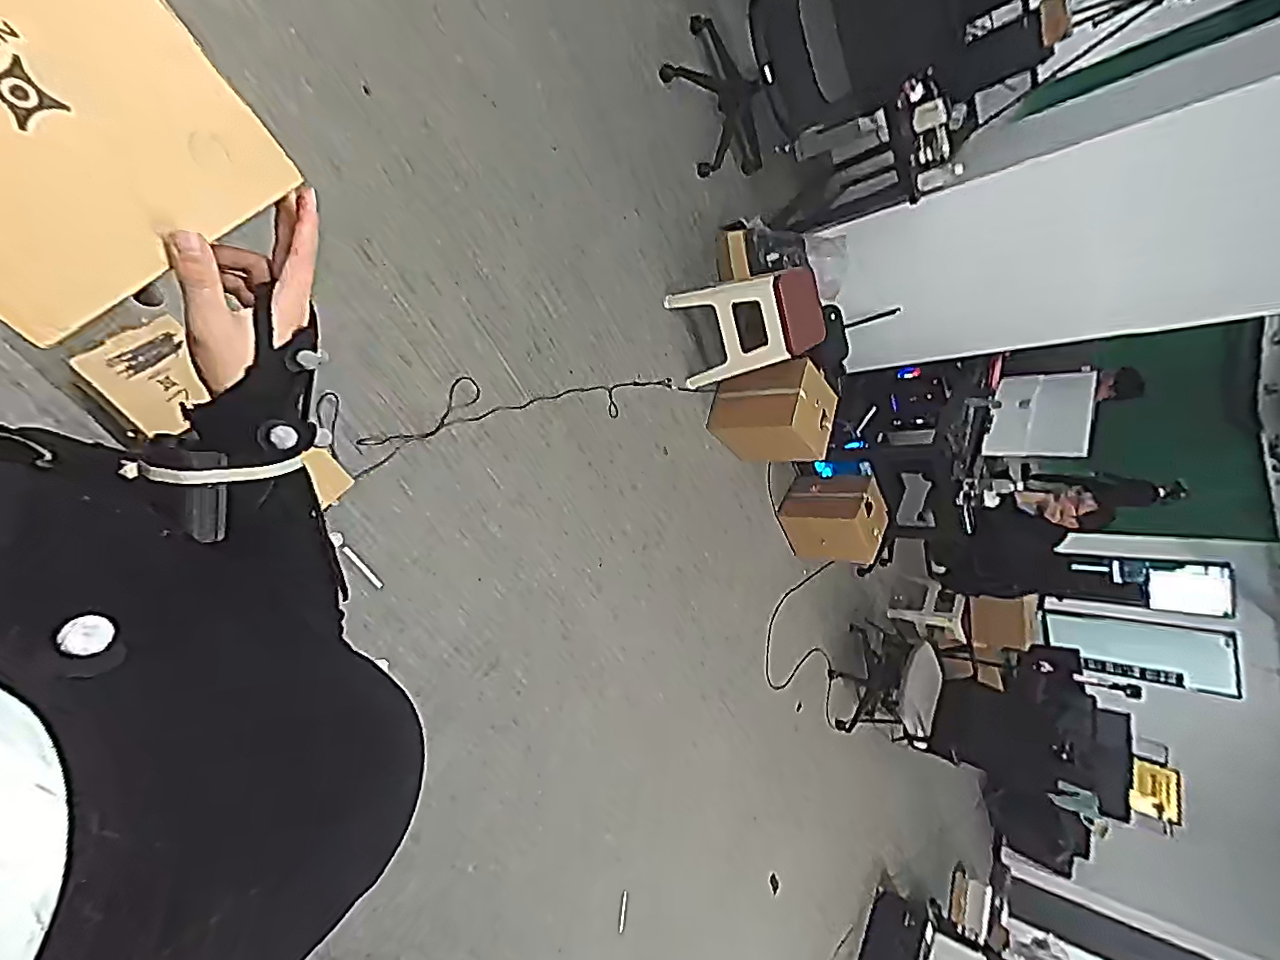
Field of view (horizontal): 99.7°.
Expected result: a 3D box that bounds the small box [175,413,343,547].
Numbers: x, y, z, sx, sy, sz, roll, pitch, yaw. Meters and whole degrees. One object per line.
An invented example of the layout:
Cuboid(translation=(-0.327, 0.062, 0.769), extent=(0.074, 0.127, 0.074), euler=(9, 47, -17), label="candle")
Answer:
Cuboid(translation=(-0.691, -0.002, 0.980), extent=(0.179, 0.176, 0.168), euler=(-51, 123, -33), label="small box")

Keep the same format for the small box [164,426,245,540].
Cuboid(translation=(-0.811, -0.002, 1.094), extent=(0.179, 0.176, 0.168), euler=(-49, 123, -34), label="small box")
